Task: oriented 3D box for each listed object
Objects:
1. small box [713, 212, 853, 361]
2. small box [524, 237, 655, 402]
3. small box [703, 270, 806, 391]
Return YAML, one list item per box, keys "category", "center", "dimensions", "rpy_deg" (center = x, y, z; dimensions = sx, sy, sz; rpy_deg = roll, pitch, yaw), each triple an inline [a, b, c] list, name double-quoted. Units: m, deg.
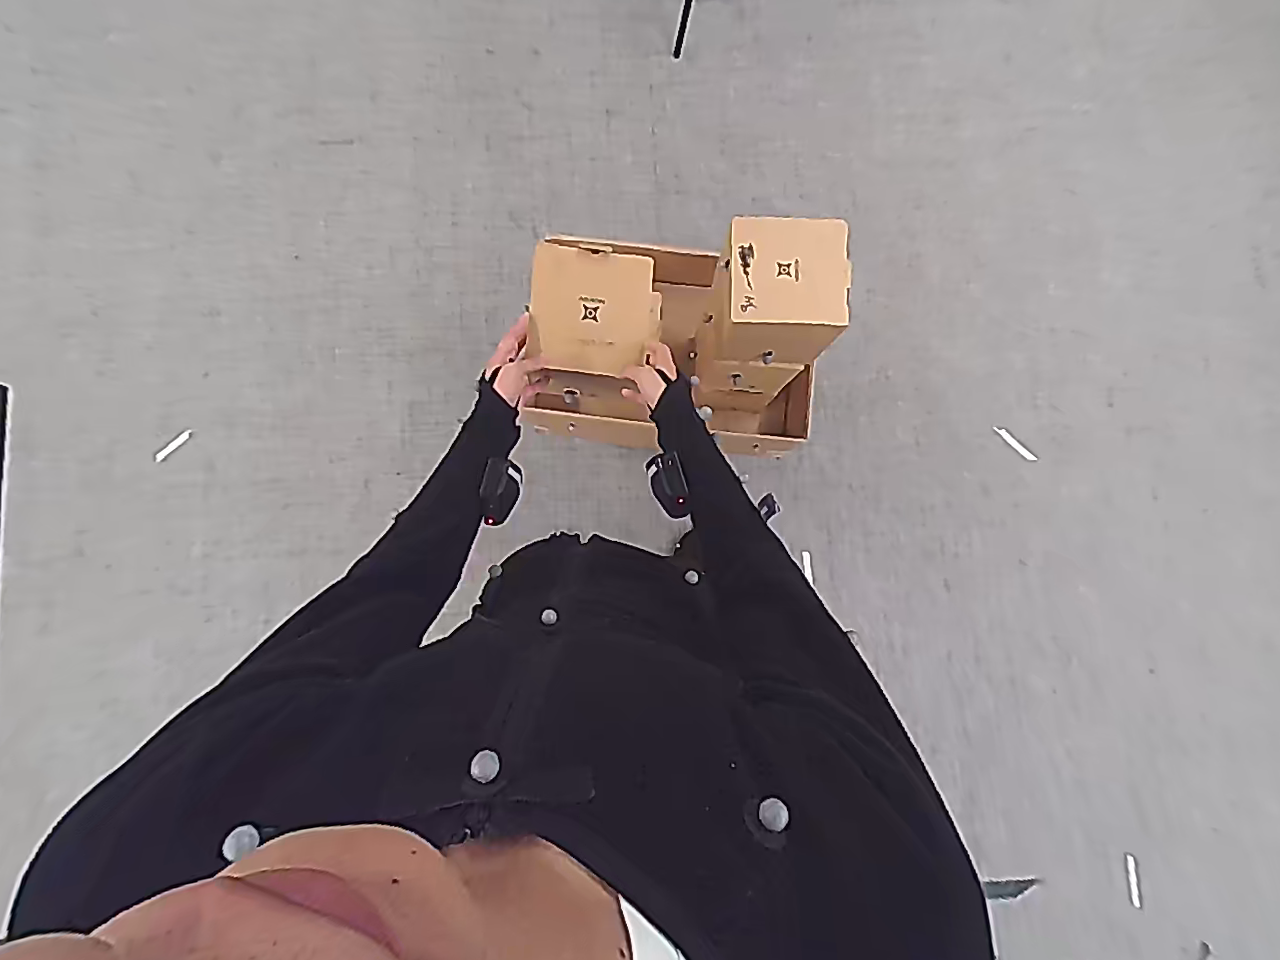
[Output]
- category: "small box"
  center: [0.218, -0.296, 0.858]
  dimensions: [0.179, 0.176, 0.168]
  rpy_deg: [2, 83, -1]
- category: "small box"
  center: [-0.078, -0.224, 0.800]
  dimensions: [0.168, 0.176, 0.179]
  rpy_deg: [5, 86, -8]
- category: "small box"
  center: [0.212, -0.276, 1.021]
  dimensions: [0.168, 0.176, 0.179]
  rpy_deg: [4, 83, -1]
